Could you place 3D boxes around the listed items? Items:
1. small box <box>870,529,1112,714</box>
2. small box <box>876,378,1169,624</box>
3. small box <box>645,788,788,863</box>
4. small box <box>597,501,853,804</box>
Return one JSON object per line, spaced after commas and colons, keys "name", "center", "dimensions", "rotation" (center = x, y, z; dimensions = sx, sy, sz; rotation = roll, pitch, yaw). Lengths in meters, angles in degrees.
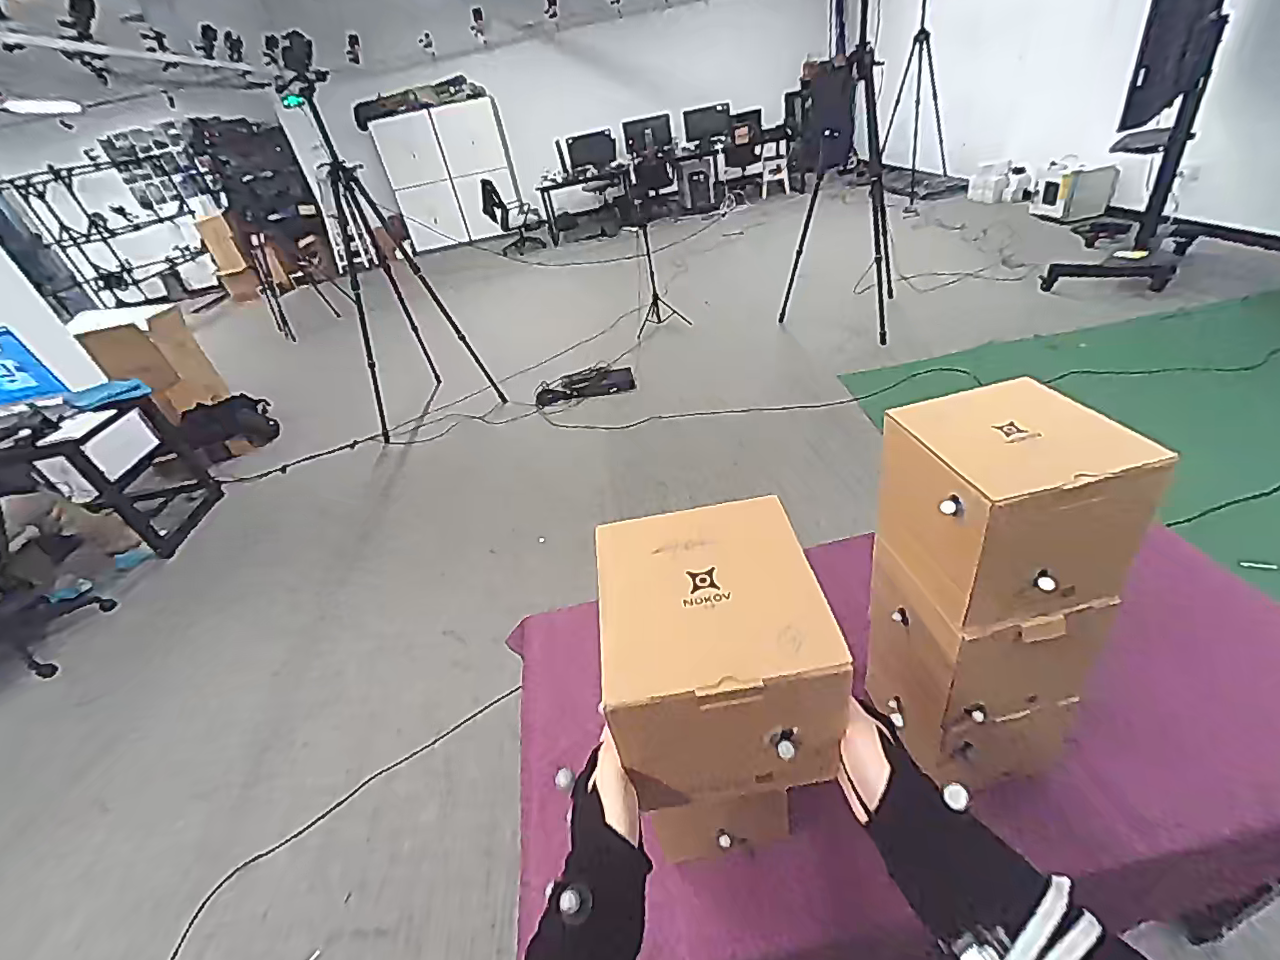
{"name": "small box", "center": [0.397, 0.155, 0.650], "dimensions": [0.168, 0.176, 0.179], "rotation": [-14, 33, -1]}
{"name": "small box", "center": [0.368, 0.018, 0.566], "dimensions": [0.168, 0.176, 0.179], "rotation": [-14, 35, -2]}
{"name": "small box", "center": [0.091, 0.372, 0.730], "dimensions": [0.168, 0.176, 0.179], "rotation": [-13, 35, 0]}
{"name": "small box", "center": [0.062, 0.147, 0.456], "dimensions": [0.168, 0.176, 0.179], "rotation": [-10, 37, 1]}
